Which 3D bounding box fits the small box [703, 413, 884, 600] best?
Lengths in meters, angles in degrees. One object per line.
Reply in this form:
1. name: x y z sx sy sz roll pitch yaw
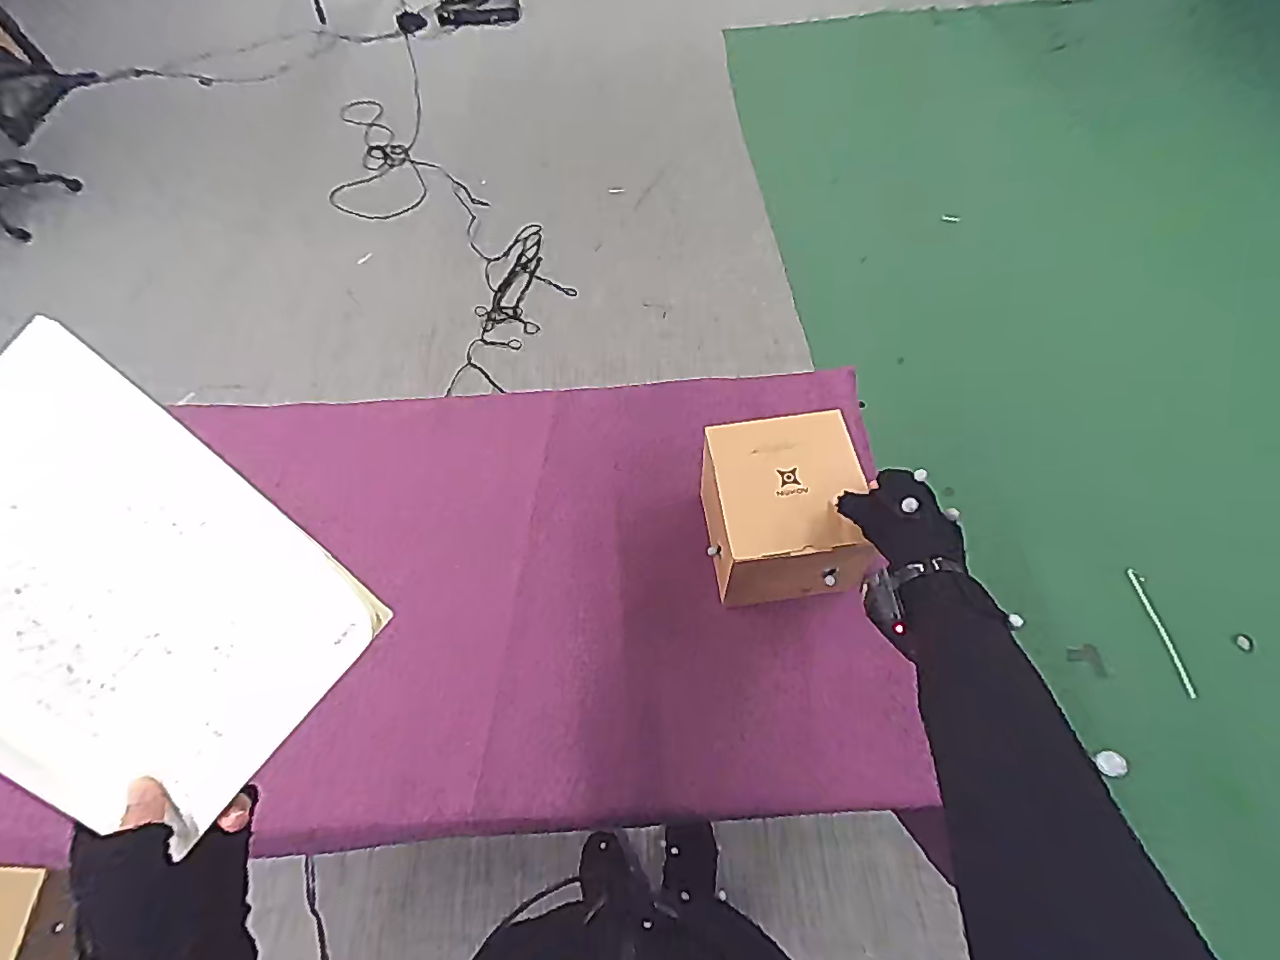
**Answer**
1. small box: 0.174 0.042 0.676 0.168 0.176 0.179 -7 60 0
